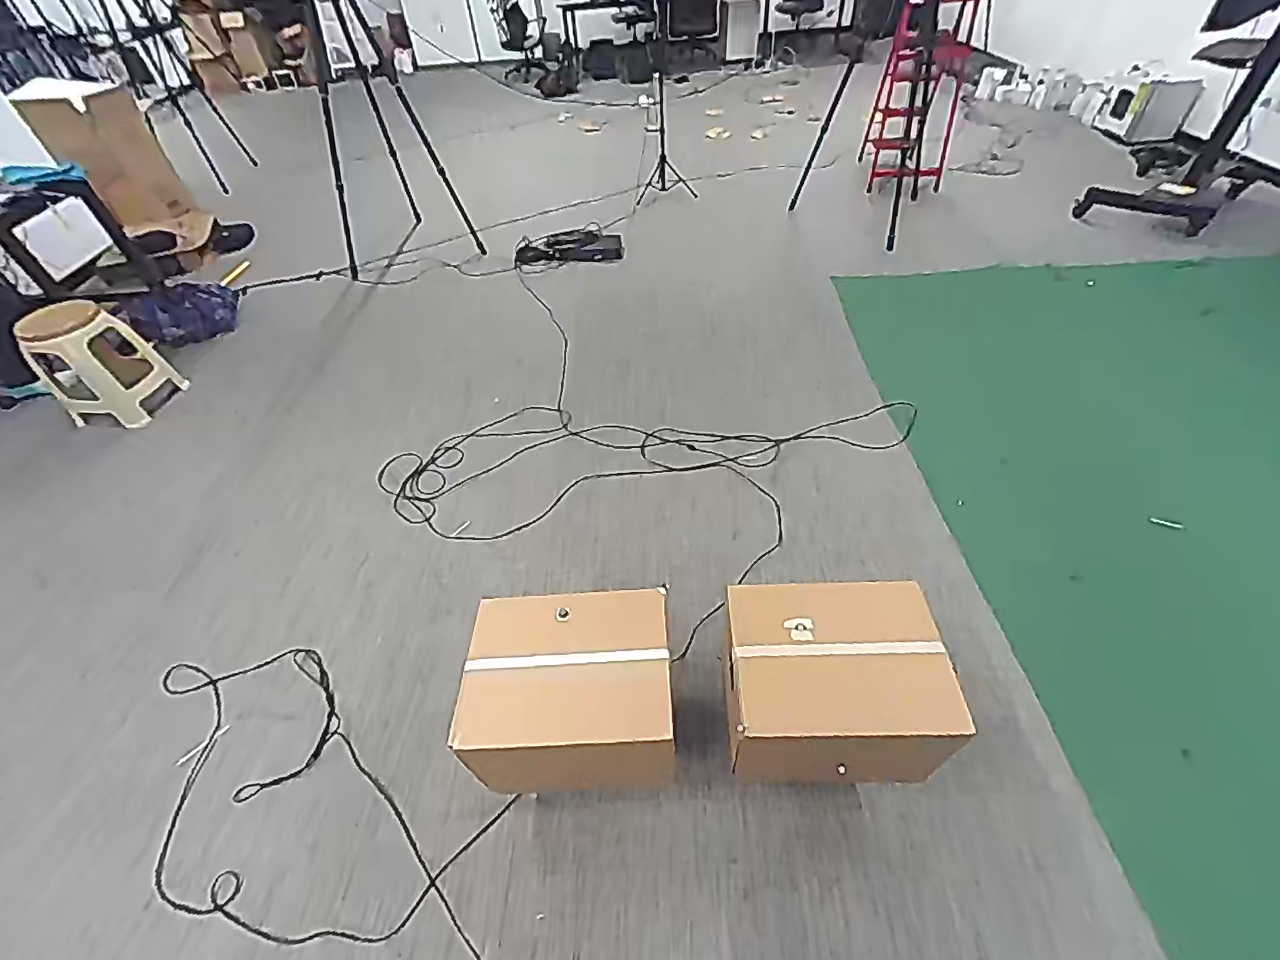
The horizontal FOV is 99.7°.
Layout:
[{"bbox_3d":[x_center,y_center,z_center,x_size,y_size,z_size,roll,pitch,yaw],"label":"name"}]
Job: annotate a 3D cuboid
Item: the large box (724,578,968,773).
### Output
[{"bbox_3d":[0.401,0.432,1.178,0.408,0.320,0.320,-2,47,4],"label":"large box"}]
